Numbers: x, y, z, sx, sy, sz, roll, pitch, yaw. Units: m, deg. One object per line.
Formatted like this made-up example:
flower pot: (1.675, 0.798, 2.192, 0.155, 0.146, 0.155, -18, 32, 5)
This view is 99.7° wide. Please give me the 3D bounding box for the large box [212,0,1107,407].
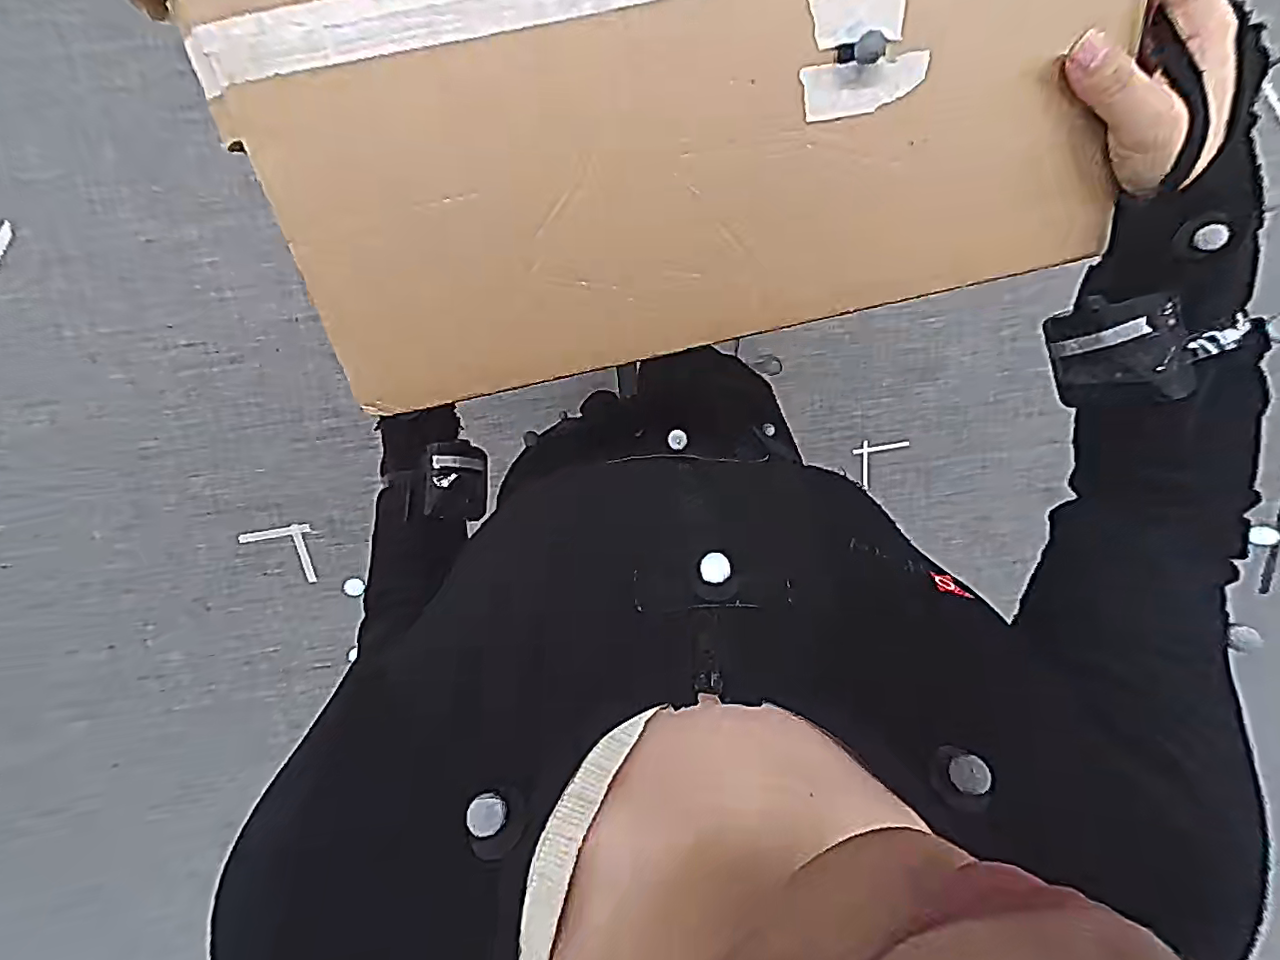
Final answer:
large box: (0.001, -0.276, 0.373, 0.408, 0.320, 0.320, -14, 114, -3)
